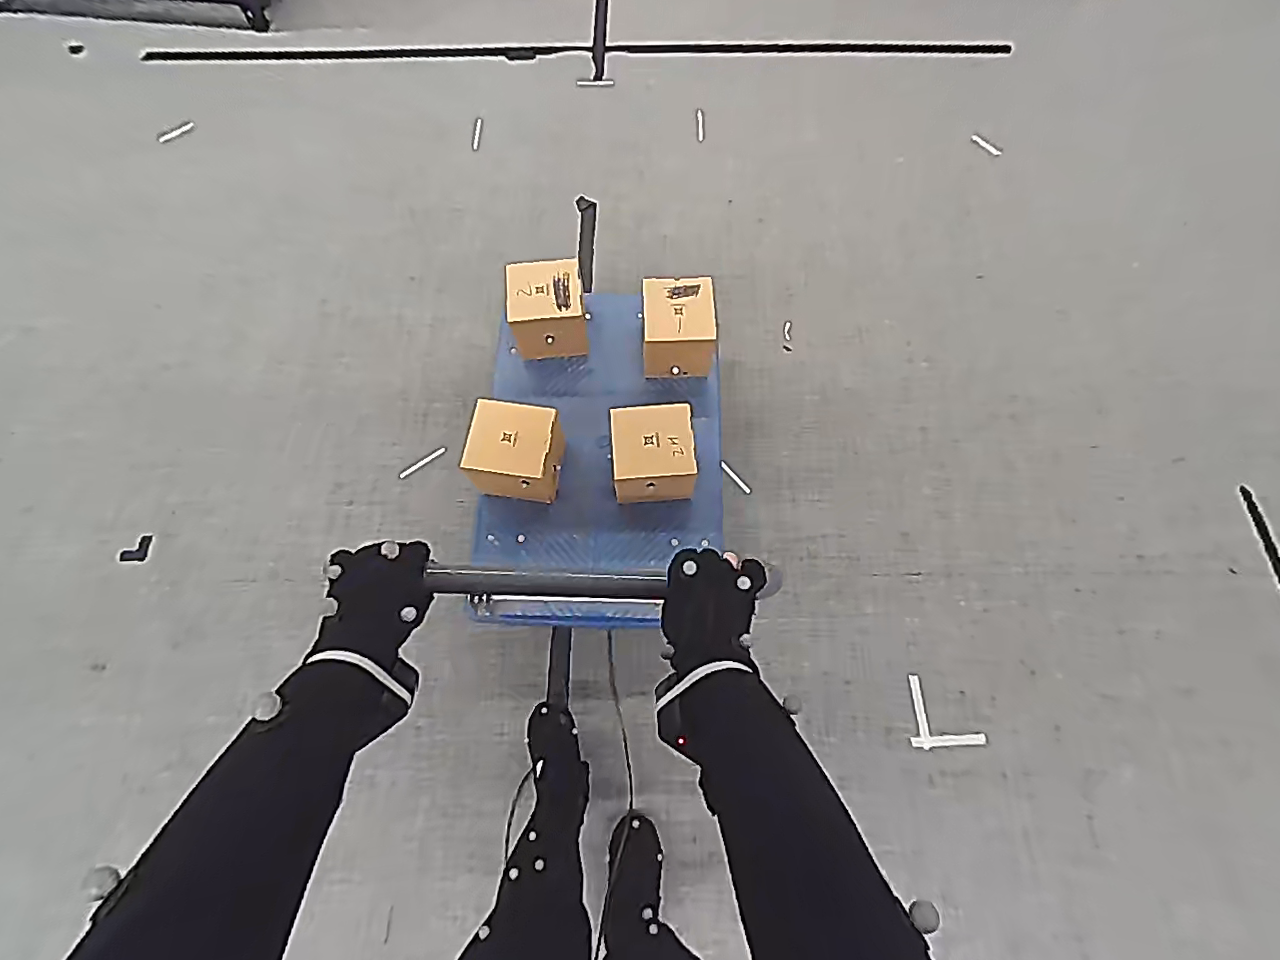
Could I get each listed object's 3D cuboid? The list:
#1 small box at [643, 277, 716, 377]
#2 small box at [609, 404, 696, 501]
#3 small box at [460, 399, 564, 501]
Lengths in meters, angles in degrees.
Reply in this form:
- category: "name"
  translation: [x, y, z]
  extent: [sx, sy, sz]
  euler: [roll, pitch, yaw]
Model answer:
- category: "small box"
  translation: [0.091, -0.369, 1.320]
  extent: [0.168, 0.176, 0.179]
  euler: [-1, 72, 0]
- category: "small box"
  translation: [0.026, -0.054, 1.210]
  extent: [0.179, 0.176, 0.168]
  euler: [-4, 71, -1]
- category: "small box"
  translation: [-0.278, -0.062, 1.214]
  extent: [0.179, 0.176, 0.168]
  euler: [8, 70, 1]
